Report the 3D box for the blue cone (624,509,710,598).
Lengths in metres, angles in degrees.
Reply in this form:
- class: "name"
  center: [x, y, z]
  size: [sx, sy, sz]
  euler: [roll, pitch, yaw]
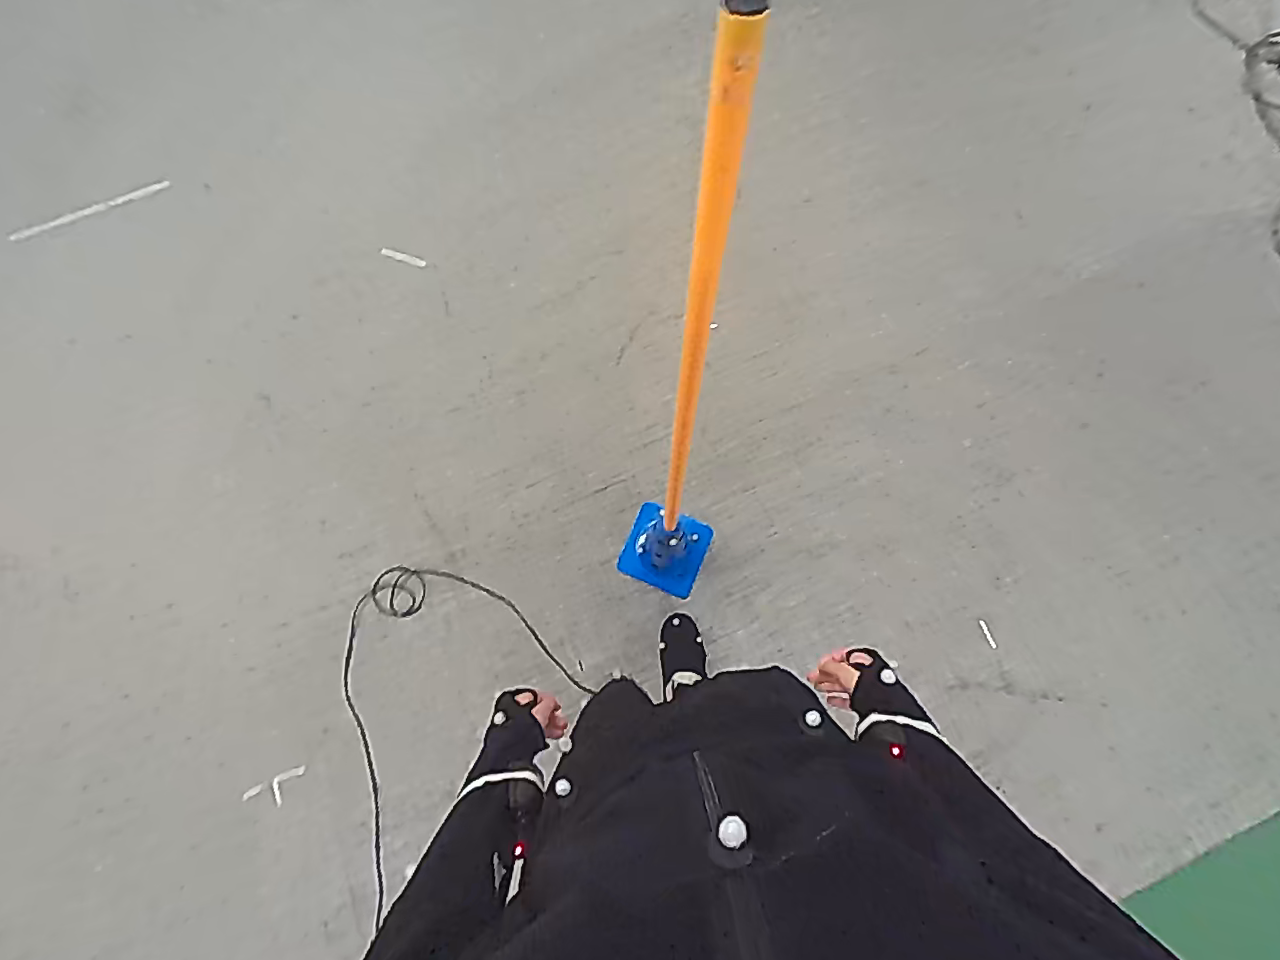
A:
- class: "blue cone"
  center: [0.063, 0.139, 1.189]
  size: [0.192, 0.380, 0.193]
  euler: [21, 76, 6]
